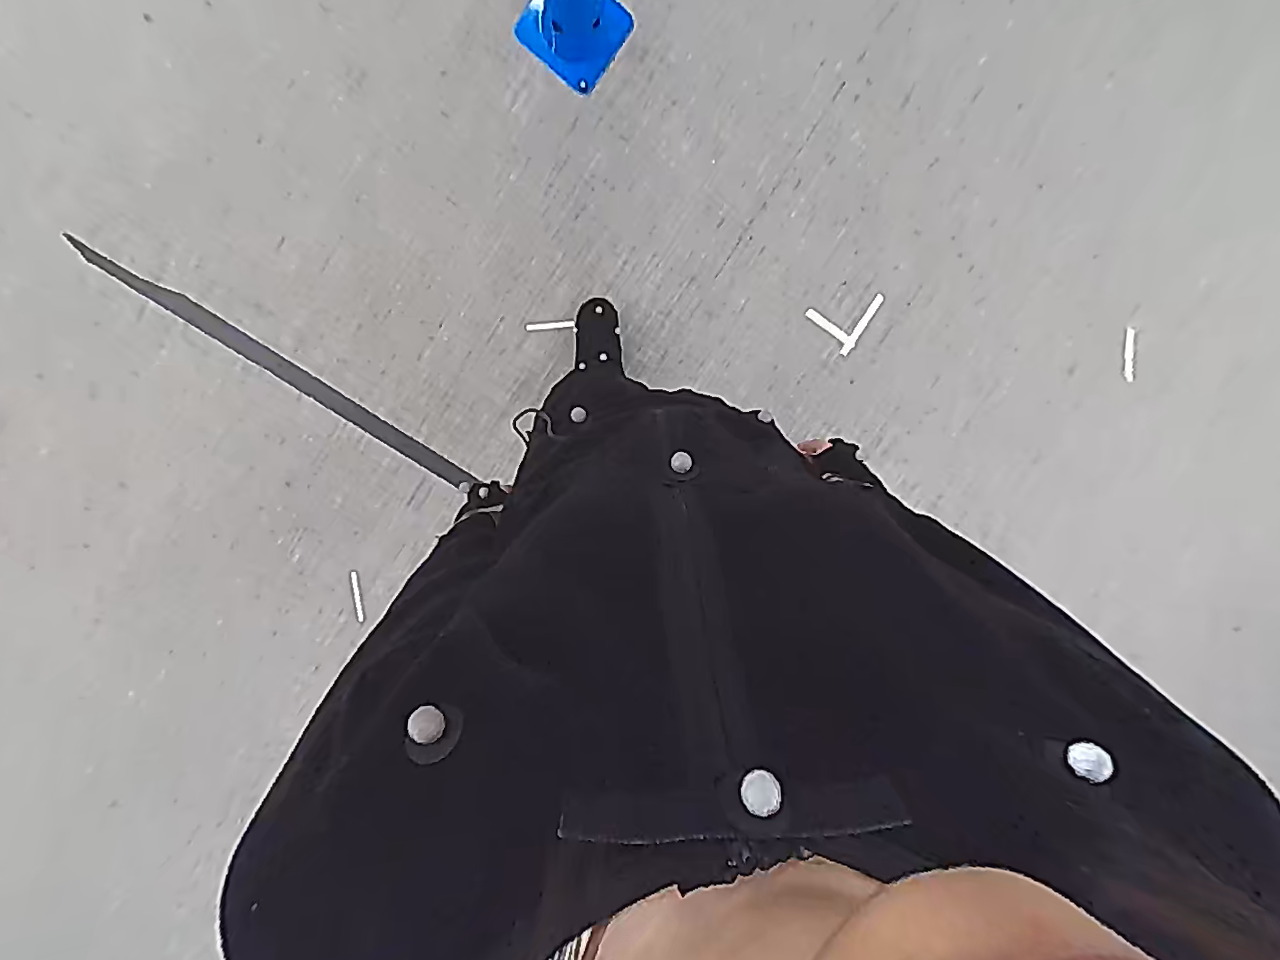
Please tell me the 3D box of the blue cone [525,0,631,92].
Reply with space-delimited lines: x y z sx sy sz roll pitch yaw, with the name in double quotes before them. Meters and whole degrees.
"blue cone" -0.117 -0.951 1.022 0.192 0.380 0.193 37 96 -13
